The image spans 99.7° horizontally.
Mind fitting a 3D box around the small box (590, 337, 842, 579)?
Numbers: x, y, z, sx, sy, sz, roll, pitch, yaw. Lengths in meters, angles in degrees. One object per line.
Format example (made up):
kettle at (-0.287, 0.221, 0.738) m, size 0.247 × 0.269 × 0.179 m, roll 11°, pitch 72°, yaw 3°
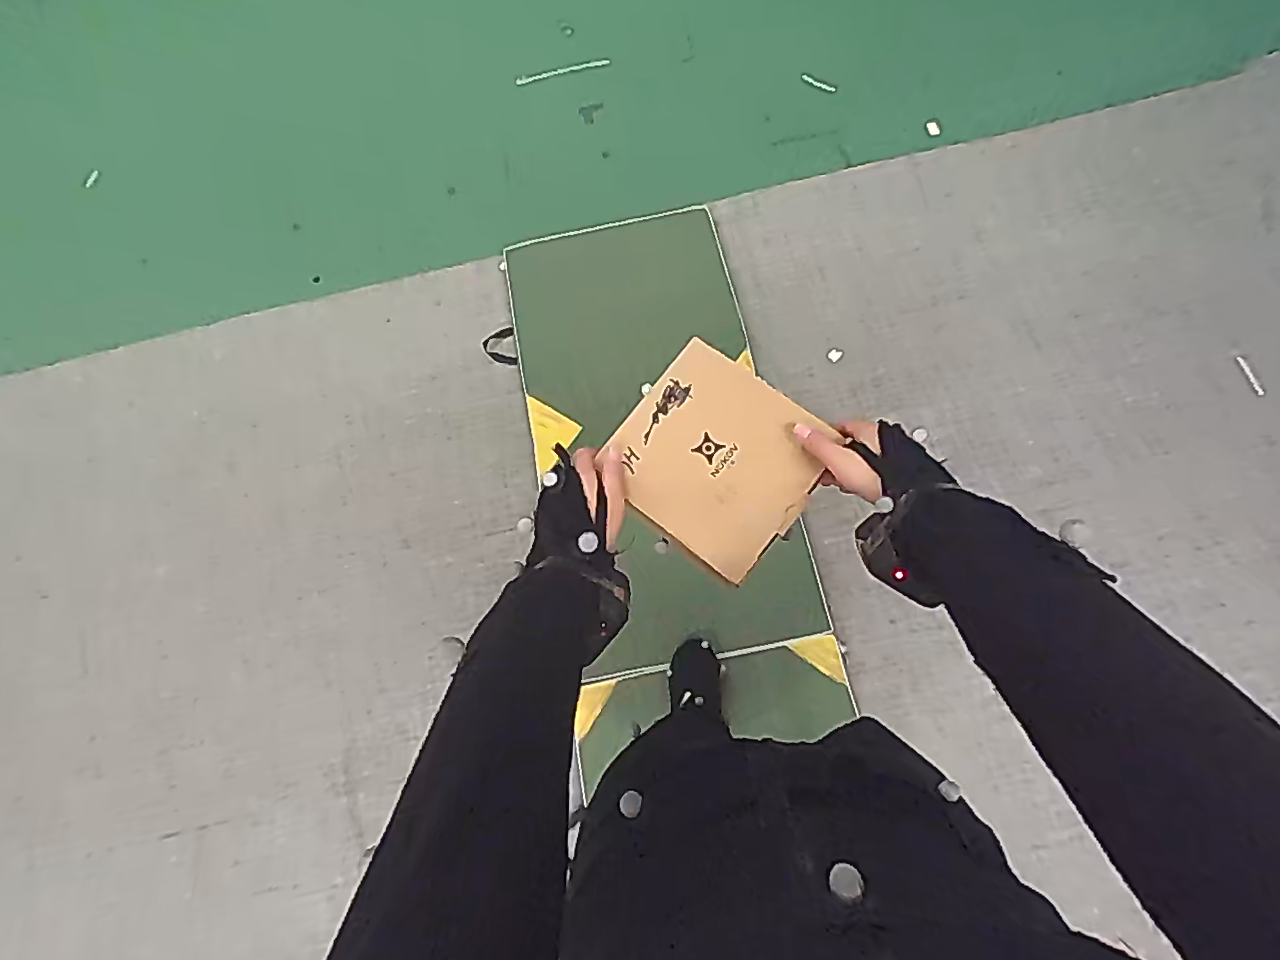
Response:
small box at (0.076, -0.012, 0.577) m, size 0.179 × 0.176 × 0.168 m, roll 38°, pitch 84°, yaw 12°
